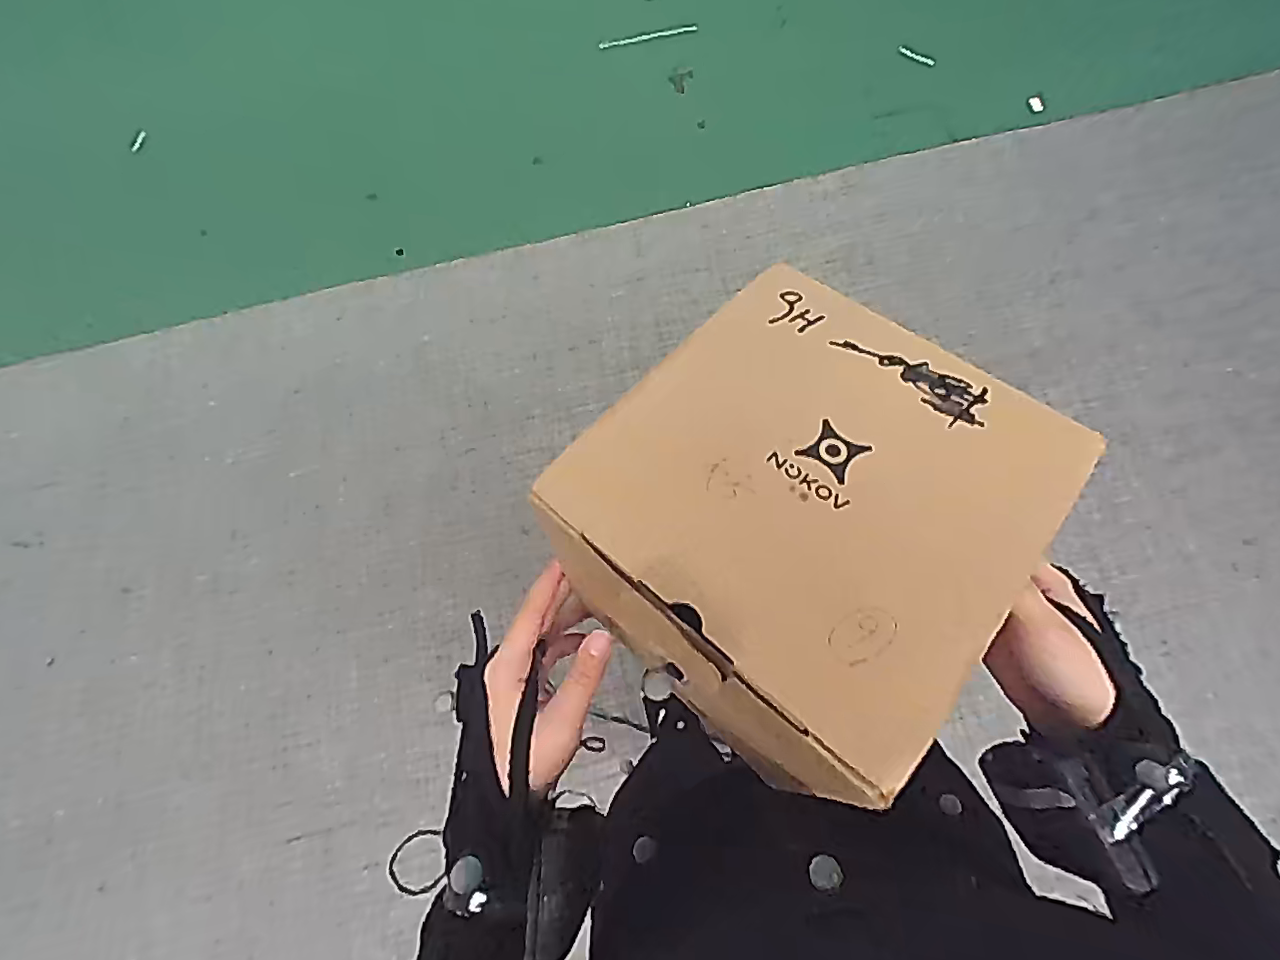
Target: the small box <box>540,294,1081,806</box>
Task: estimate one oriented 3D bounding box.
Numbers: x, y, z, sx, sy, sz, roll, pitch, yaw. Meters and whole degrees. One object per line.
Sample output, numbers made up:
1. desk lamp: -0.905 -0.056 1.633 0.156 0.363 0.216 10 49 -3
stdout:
1. small box: 0.076 0.043 0.301 0.168 0.176 0.179 38 69 20
